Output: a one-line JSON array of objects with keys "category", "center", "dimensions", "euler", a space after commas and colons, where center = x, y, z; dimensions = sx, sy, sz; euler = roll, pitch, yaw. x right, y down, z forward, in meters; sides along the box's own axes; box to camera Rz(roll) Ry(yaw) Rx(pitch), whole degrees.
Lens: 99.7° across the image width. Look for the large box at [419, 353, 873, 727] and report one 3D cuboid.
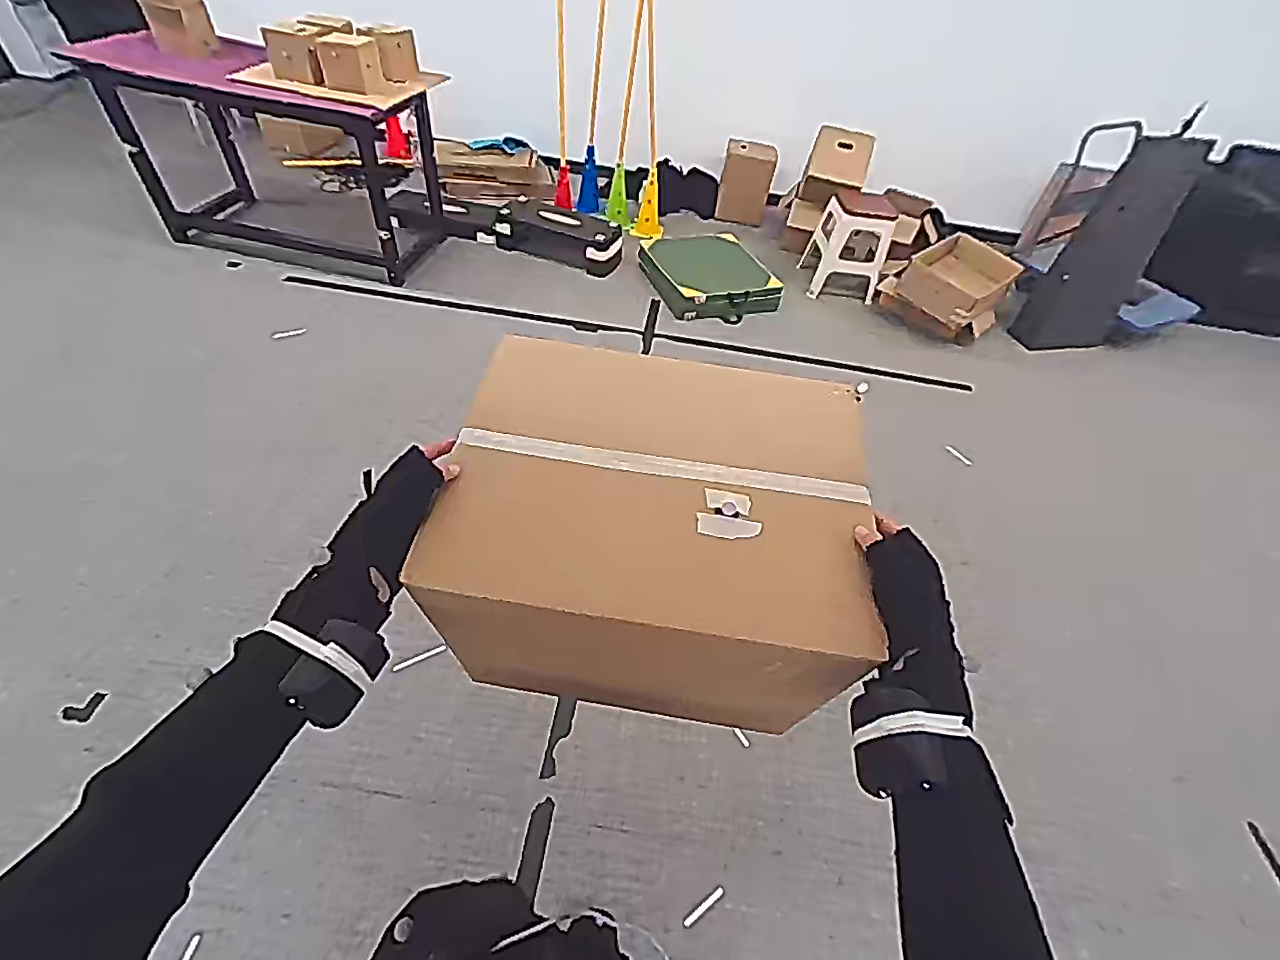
[{"category": "large box", "center": [0.010, 0.085, 0.667], "dimensions": [0.408, 0.320, 0.320], "euler": [9, 55, 1]}]
